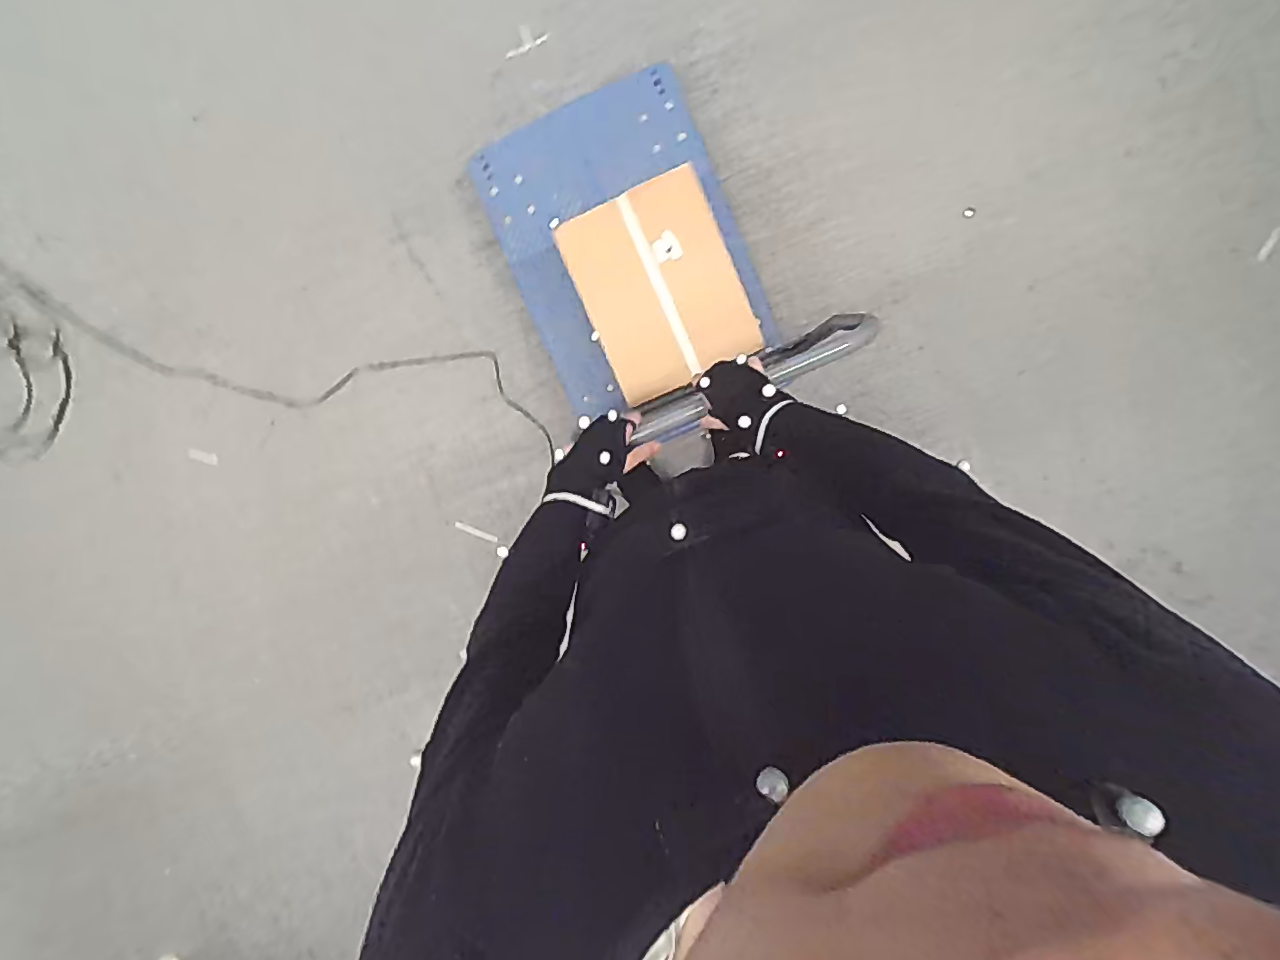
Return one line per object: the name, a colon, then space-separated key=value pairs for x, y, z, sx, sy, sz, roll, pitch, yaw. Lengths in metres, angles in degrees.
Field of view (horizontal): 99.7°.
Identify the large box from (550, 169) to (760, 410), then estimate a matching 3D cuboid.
large box: x=0.041 y=-0.410 z=1.275 sx=0.320 sy=0.320 sz=0.408 roll=-24 pitch=94 yaw=4
